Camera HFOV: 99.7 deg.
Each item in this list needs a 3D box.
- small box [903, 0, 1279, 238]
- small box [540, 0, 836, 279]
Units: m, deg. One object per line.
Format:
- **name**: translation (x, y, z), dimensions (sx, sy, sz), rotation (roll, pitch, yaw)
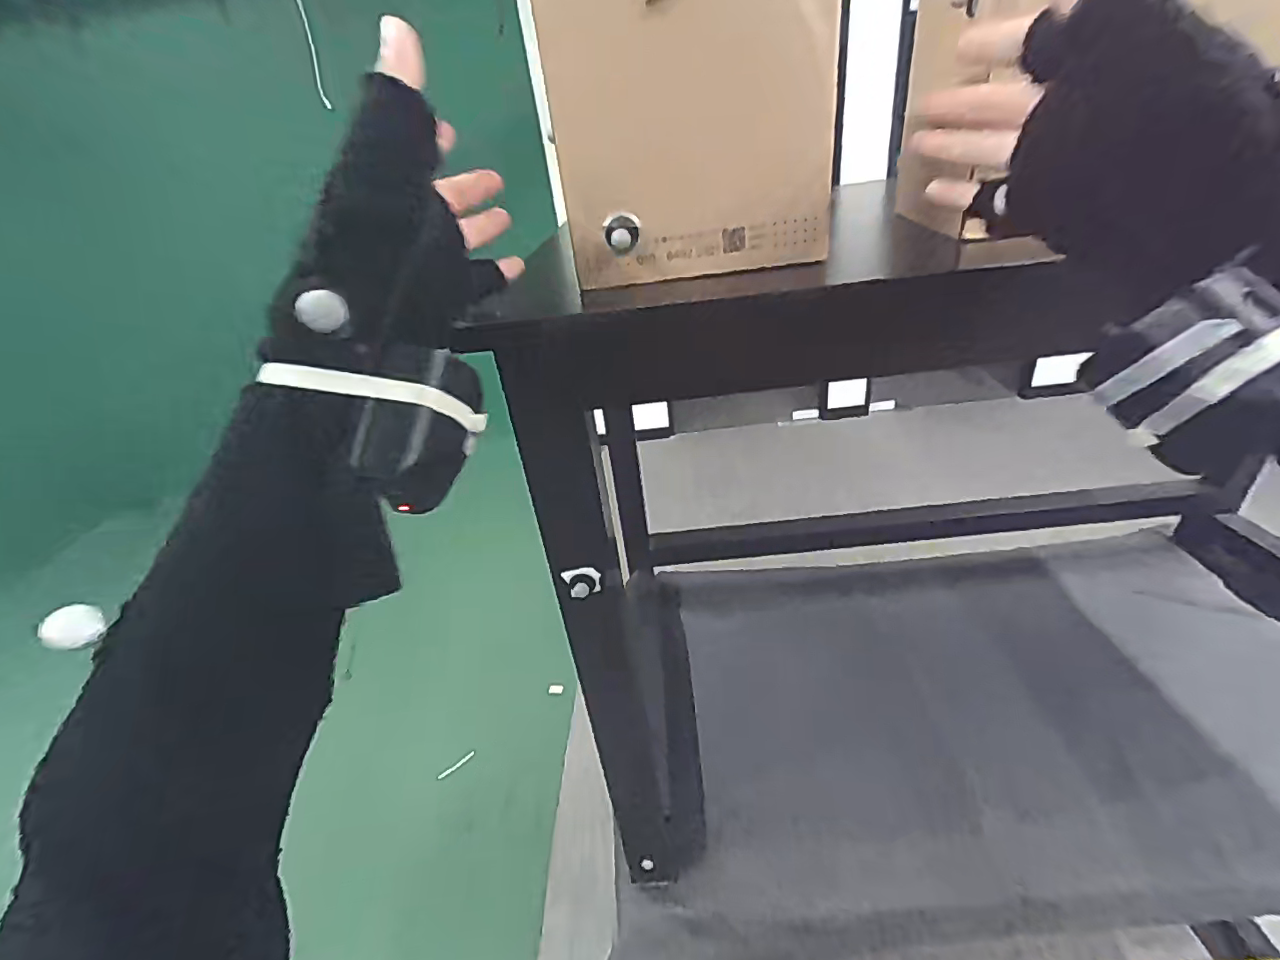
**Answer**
- **small box**: translation (0.298, -0.271, 0.377), dimensions (0.168, 0.176, 0.179), rotation (-1, 32, 10)
- **small box**: translation (0.035, -0.248, 0.389), dimensions (0.168, 0.176, 0.179), rotation (-6, 29, 3)
